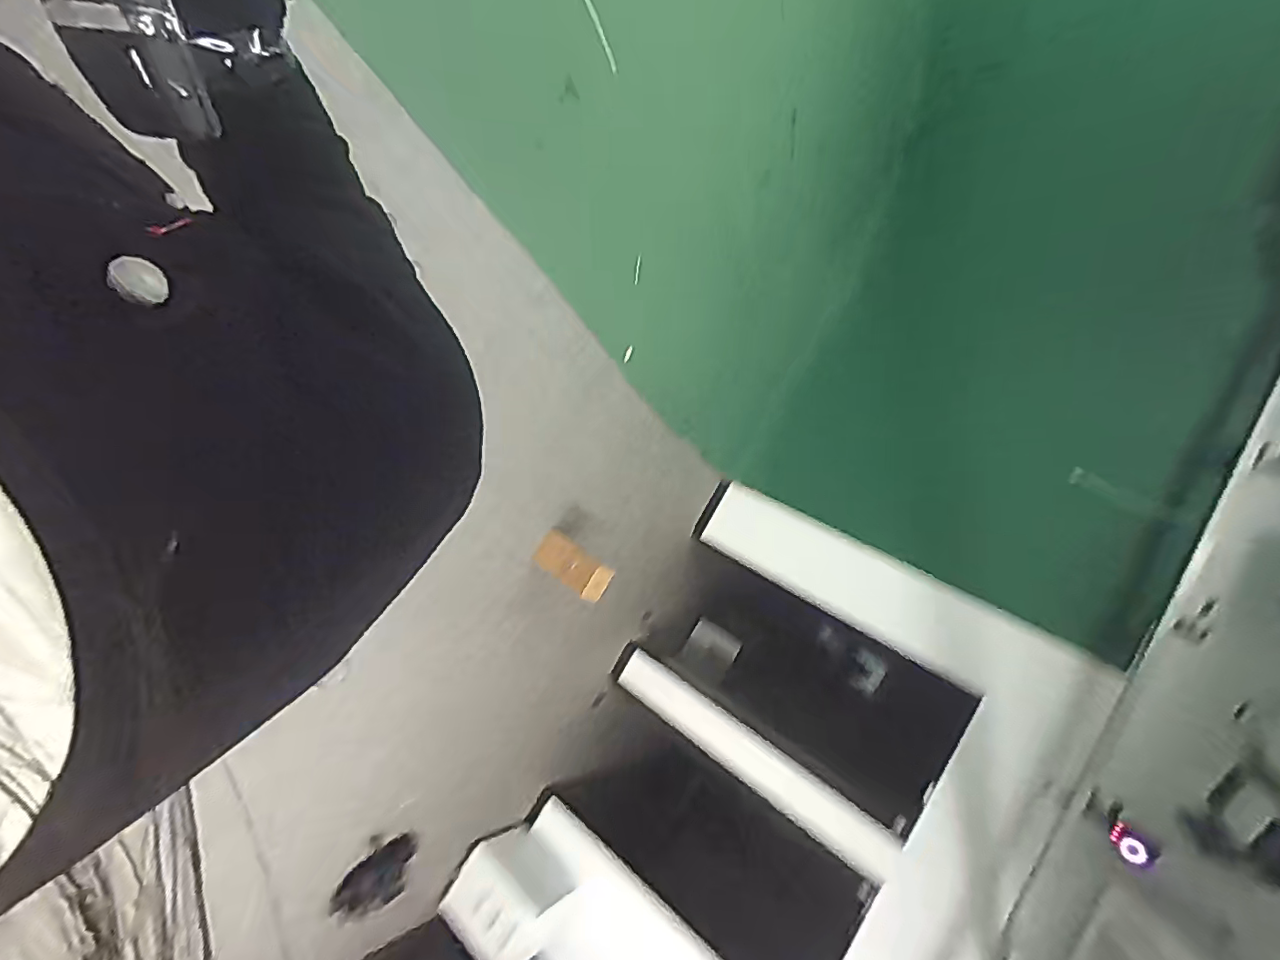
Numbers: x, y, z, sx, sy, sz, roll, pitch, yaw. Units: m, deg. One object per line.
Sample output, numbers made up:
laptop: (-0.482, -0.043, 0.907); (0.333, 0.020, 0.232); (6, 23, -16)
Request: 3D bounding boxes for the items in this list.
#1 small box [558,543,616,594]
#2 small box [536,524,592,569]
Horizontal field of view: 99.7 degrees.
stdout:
small box: (-0.249, 0.414, 2.536); (0.168, 0.176, 0.179); (-61, 151, -6)
small box: (-0.370, 0.335, 2.609); (0.179, 0.176, 0.168); (-58, 152, -6)
